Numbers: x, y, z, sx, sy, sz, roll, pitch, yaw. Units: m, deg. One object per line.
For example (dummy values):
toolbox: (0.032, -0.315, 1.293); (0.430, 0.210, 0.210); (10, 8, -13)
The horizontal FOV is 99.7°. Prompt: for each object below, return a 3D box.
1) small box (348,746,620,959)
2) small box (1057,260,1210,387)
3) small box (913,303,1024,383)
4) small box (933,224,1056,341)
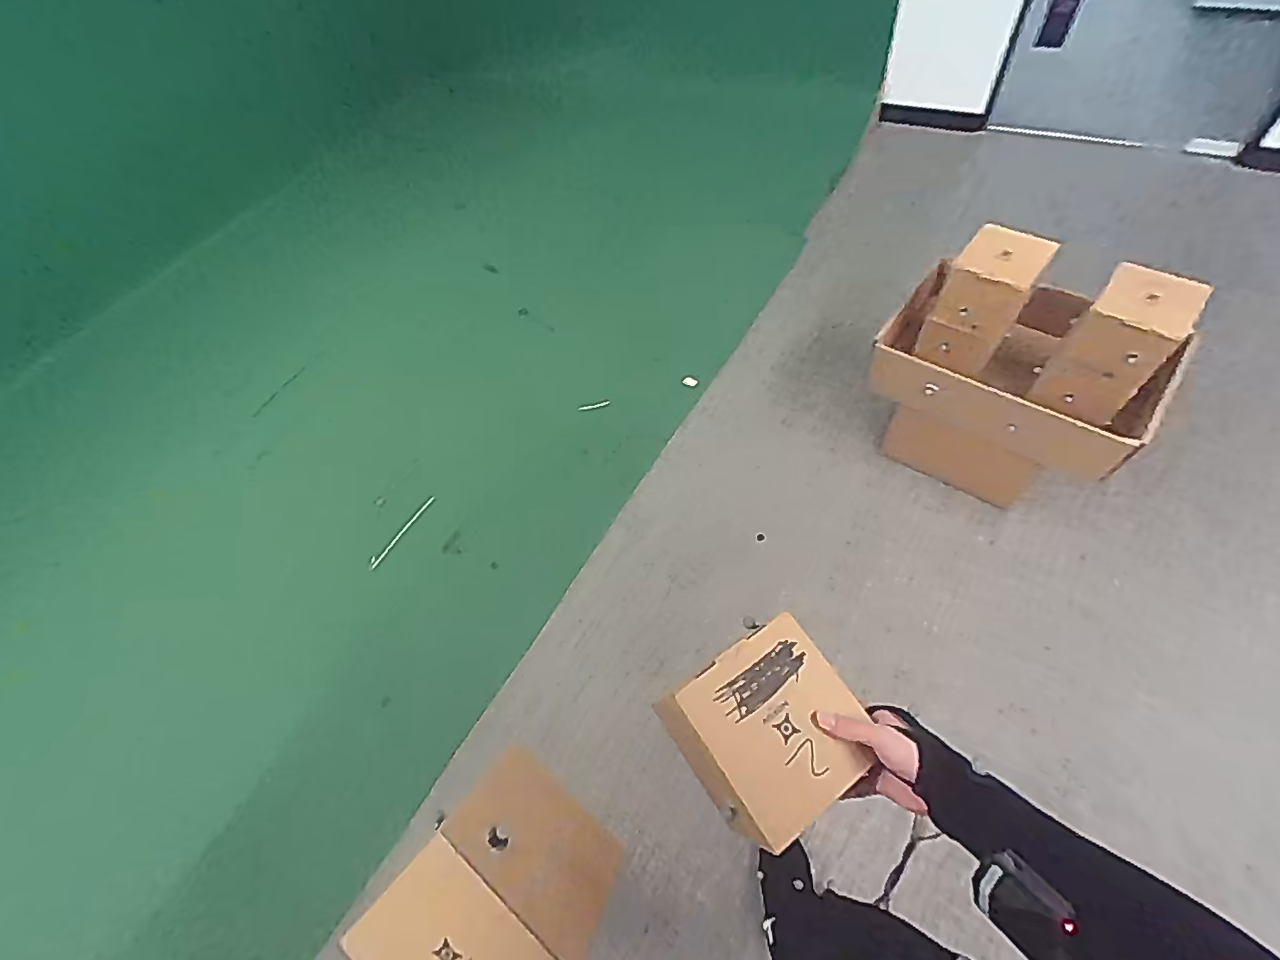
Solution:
small box: (-0.149, 0.415, 0.568); (0.179, 0.176, 0.168); (43, 100, 9)
small box: (1.053, -0.333, 1.172); (0.168, 0.176, 0.179); (34, 70, 25)
small box: (0.863, -0.389, 1.440); (0.179, 0.176, 0.168); (36, 72, 26)
small box: (0.841, -0.472, 1.300); (0.168, 0.176, 0.179); (34, 71, 26)
